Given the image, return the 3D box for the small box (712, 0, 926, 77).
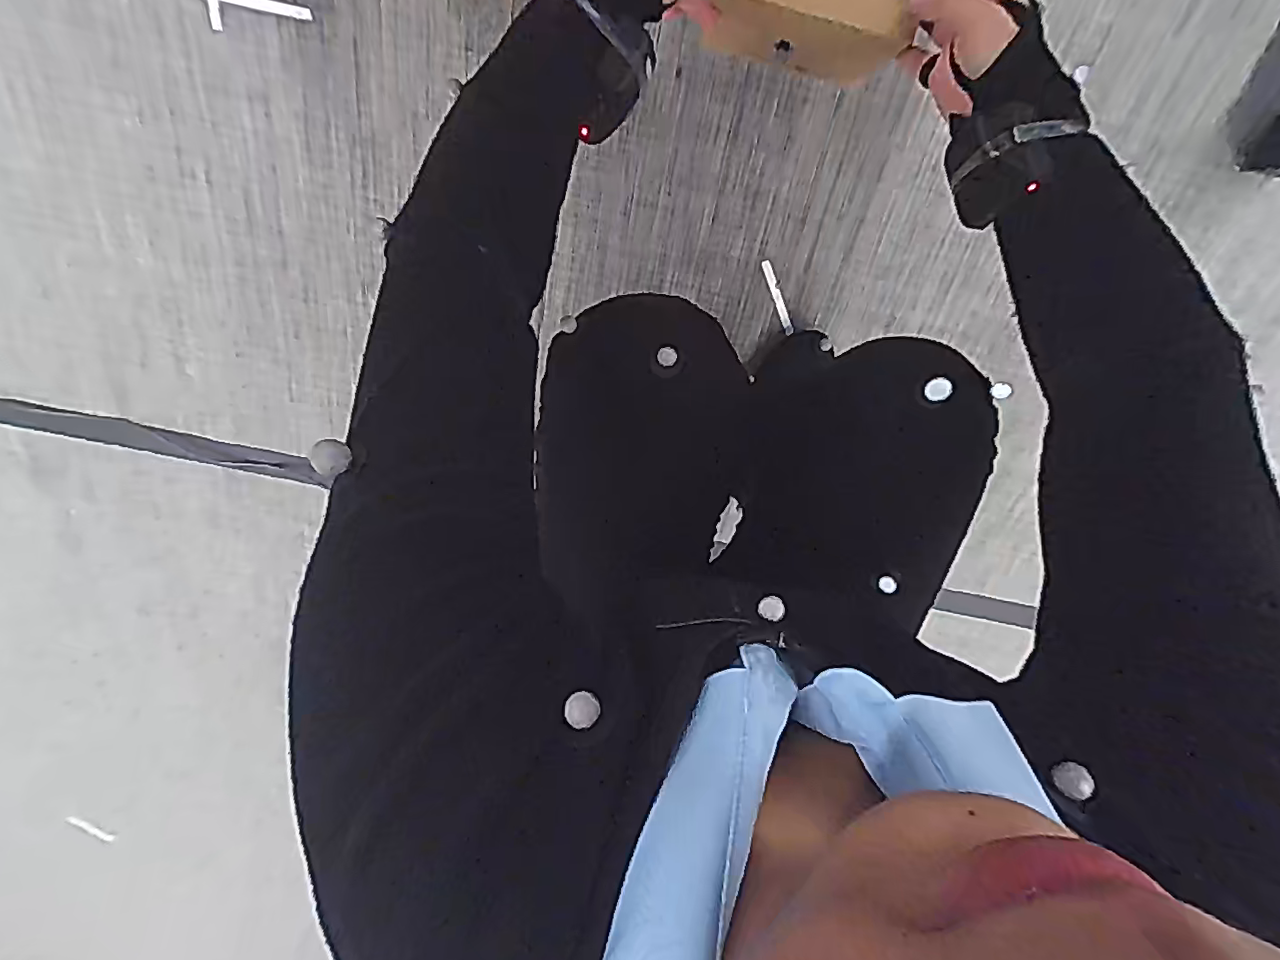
[{"bbox_3d":[0.162,-0.475,0.455,0.168,0.176,0.179,14,116,-3],"label":"small box"}]
